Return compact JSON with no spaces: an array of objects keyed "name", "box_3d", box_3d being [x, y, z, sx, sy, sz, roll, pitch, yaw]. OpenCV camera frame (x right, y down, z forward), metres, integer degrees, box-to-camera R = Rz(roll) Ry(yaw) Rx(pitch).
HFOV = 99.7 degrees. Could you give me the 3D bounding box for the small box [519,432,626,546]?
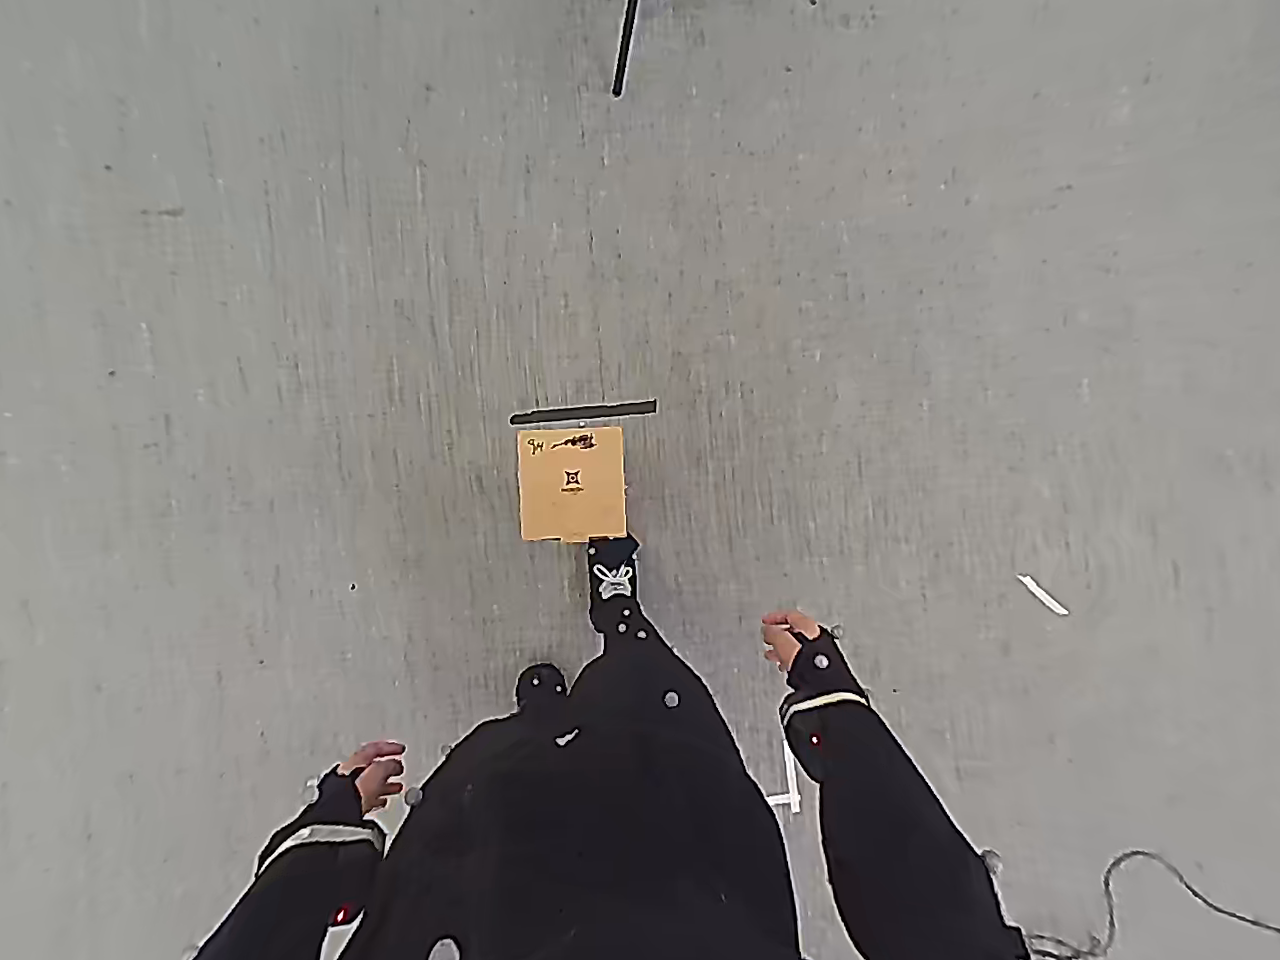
[{"name":"small box","box_3d":[-0.107,0.014,0.919,0.168,0.176,0.179,-2,89,-3]}]
